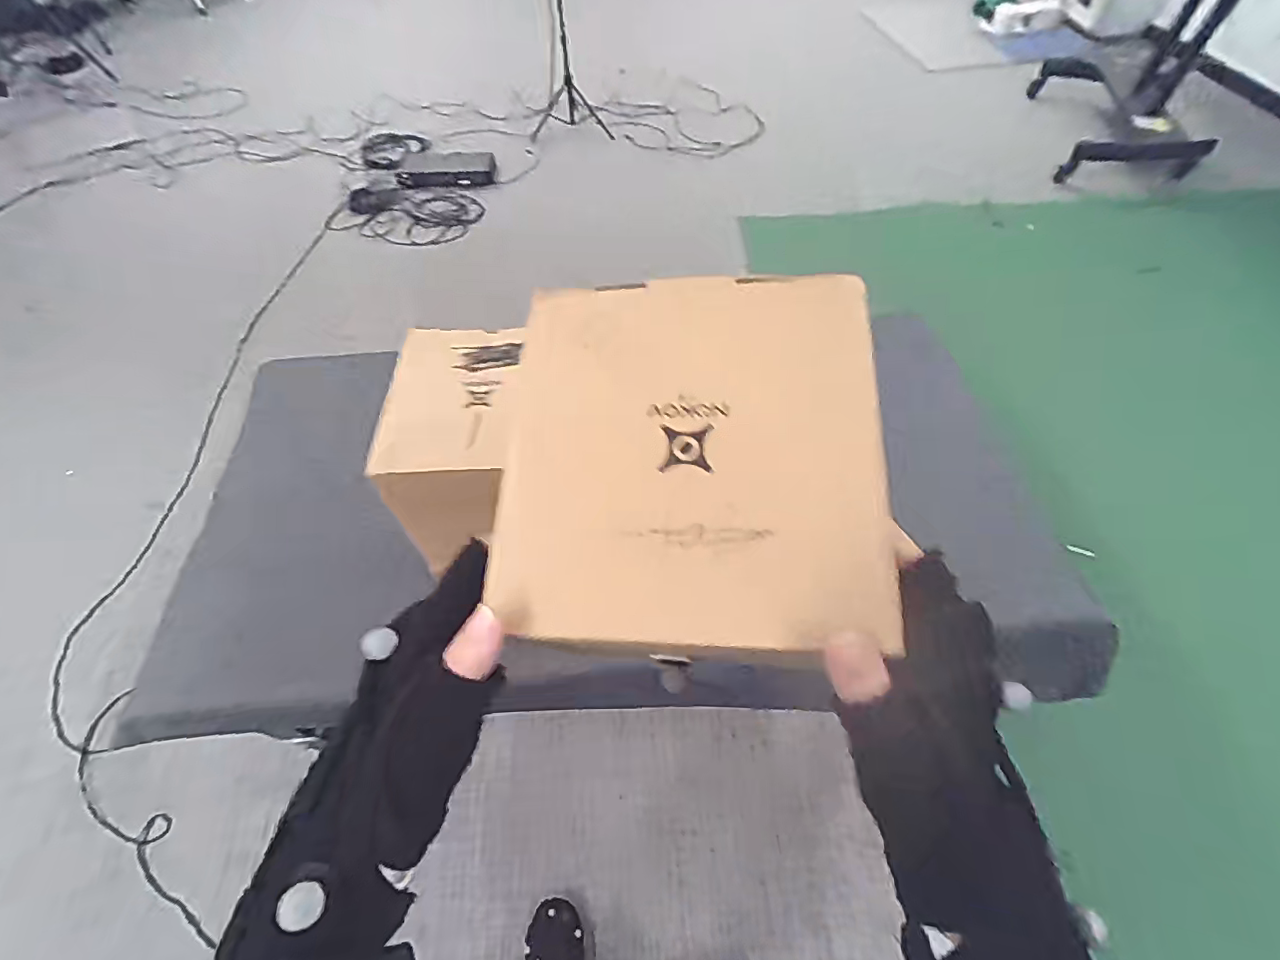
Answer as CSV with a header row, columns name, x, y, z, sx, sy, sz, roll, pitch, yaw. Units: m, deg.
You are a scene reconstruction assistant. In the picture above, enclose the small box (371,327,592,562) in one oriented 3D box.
name,x,y,z,sx,sy,sz,roll,pitch,yaw
small box,-0.138,-0.033,0.547,0.168,0.176,0.179,-1,55,-1
